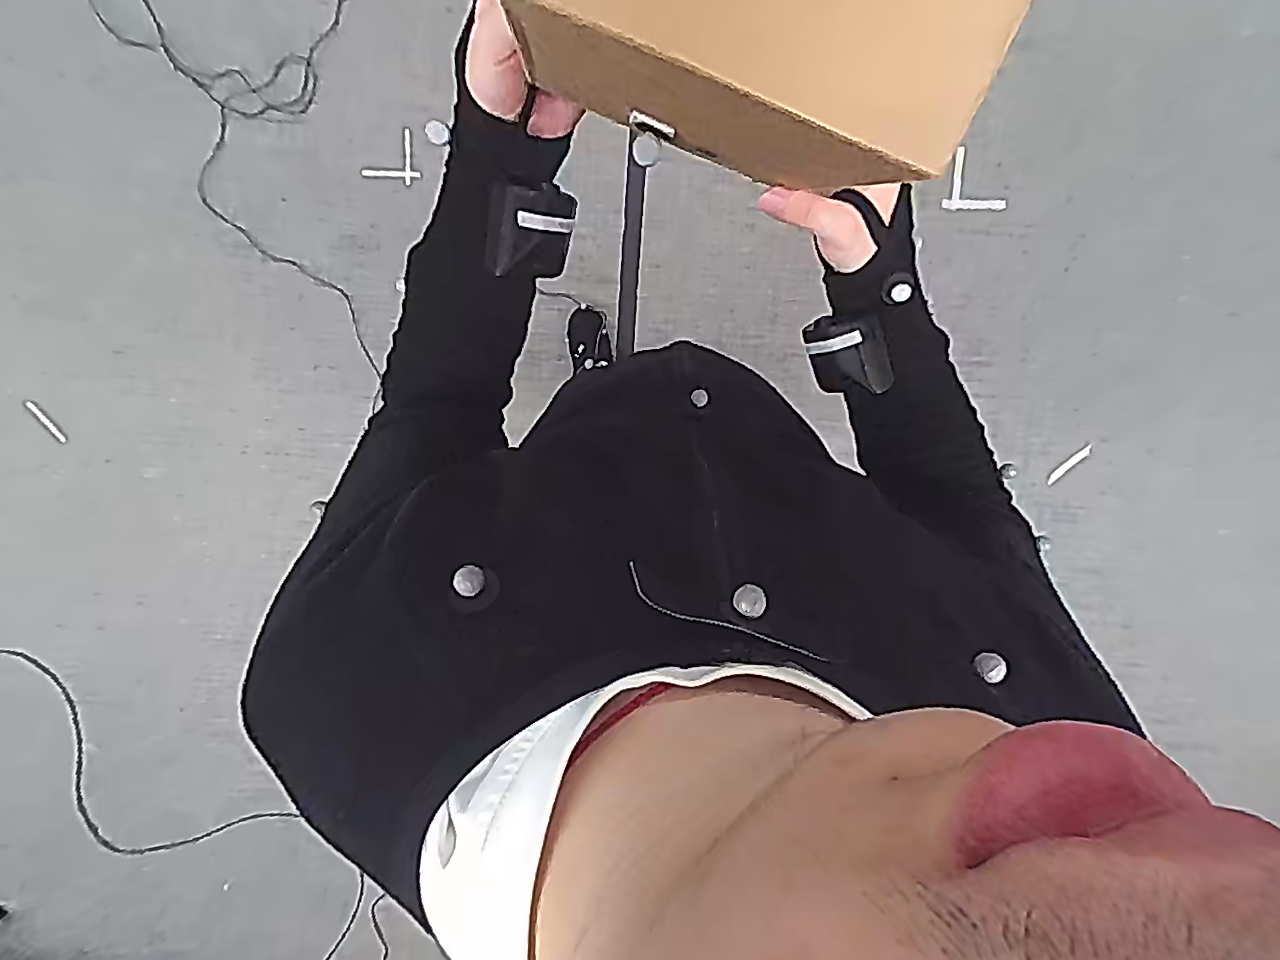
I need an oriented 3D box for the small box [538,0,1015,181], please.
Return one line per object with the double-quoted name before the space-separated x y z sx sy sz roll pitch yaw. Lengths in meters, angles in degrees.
"small box" 0.053 -0.248 0.226 0.168 0.176 0.179 13 114 -13
